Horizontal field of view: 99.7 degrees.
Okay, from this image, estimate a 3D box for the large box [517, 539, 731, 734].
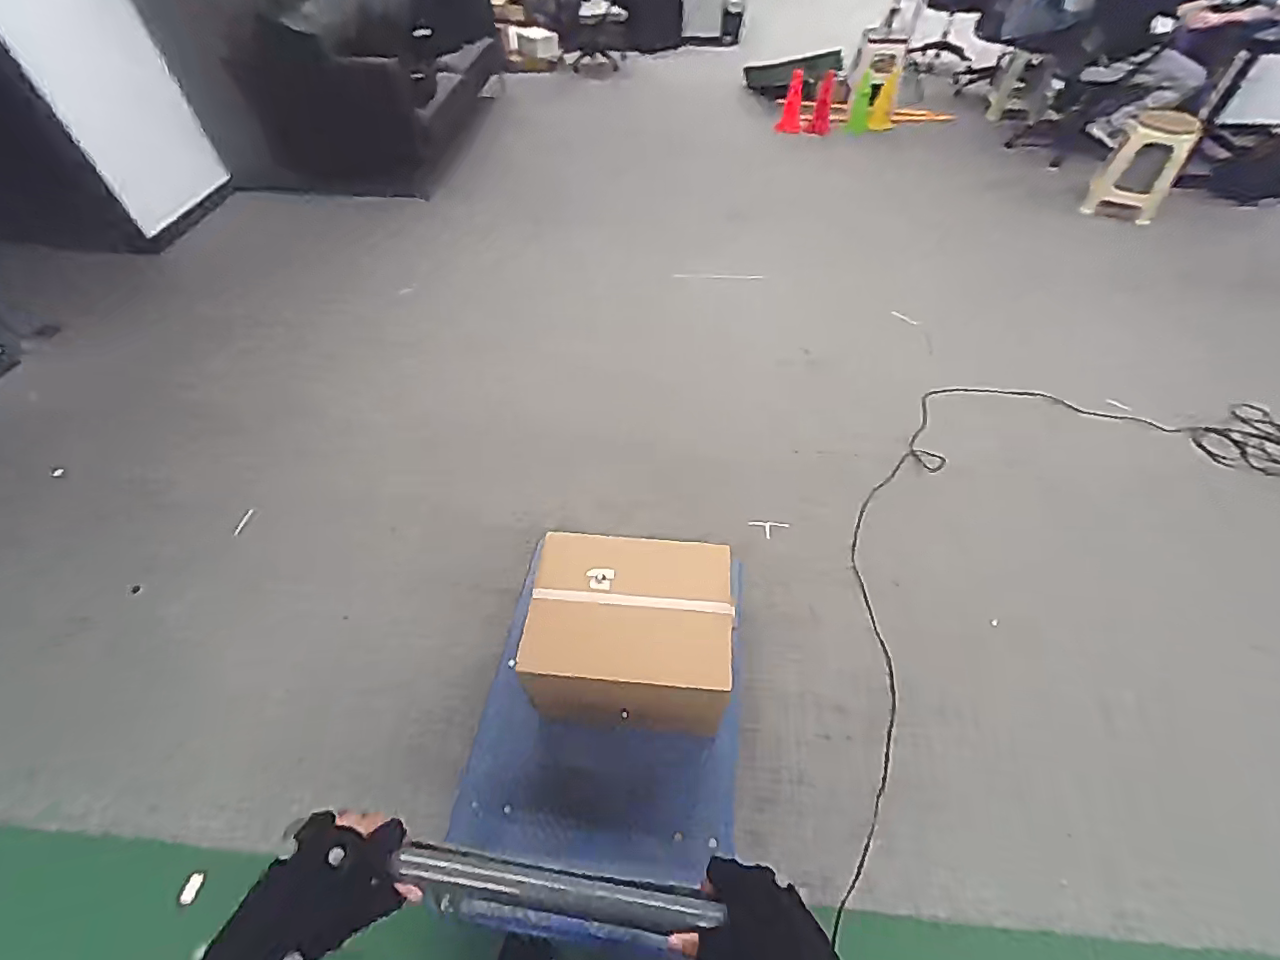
[{"bbox_3d":[-0.015,0.350,1.200,0.408,0.320,0.320,3,49,4],"label":"large box"}]
